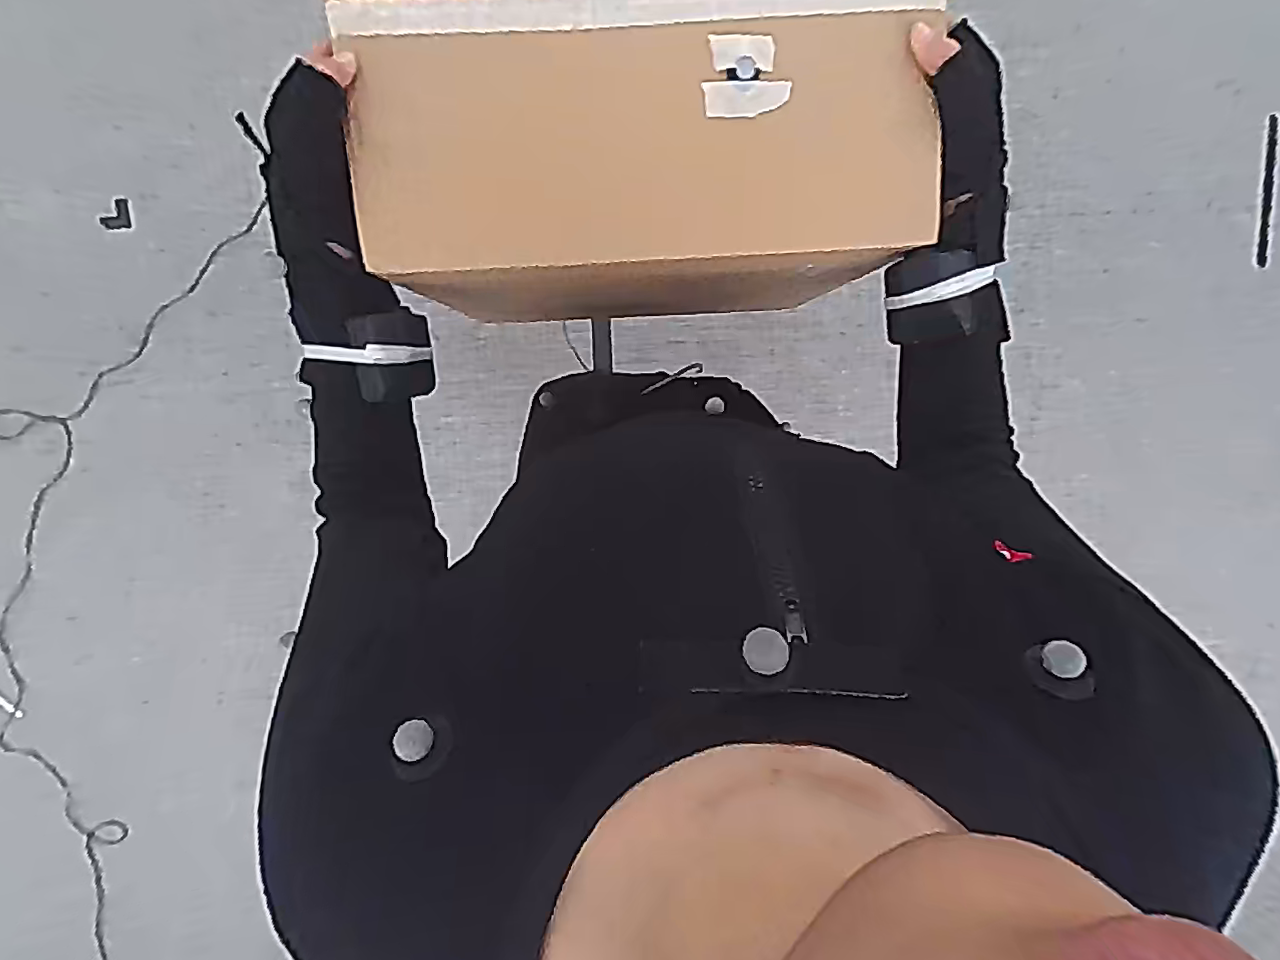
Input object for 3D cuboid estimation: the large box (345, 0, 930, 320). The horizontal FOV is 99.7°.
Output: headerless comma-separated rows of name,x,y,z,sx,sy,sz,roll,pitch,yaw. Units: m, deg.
large box,-0.006,-0.340,0.512,0.408,0.320,0.320,-4,101,-2
